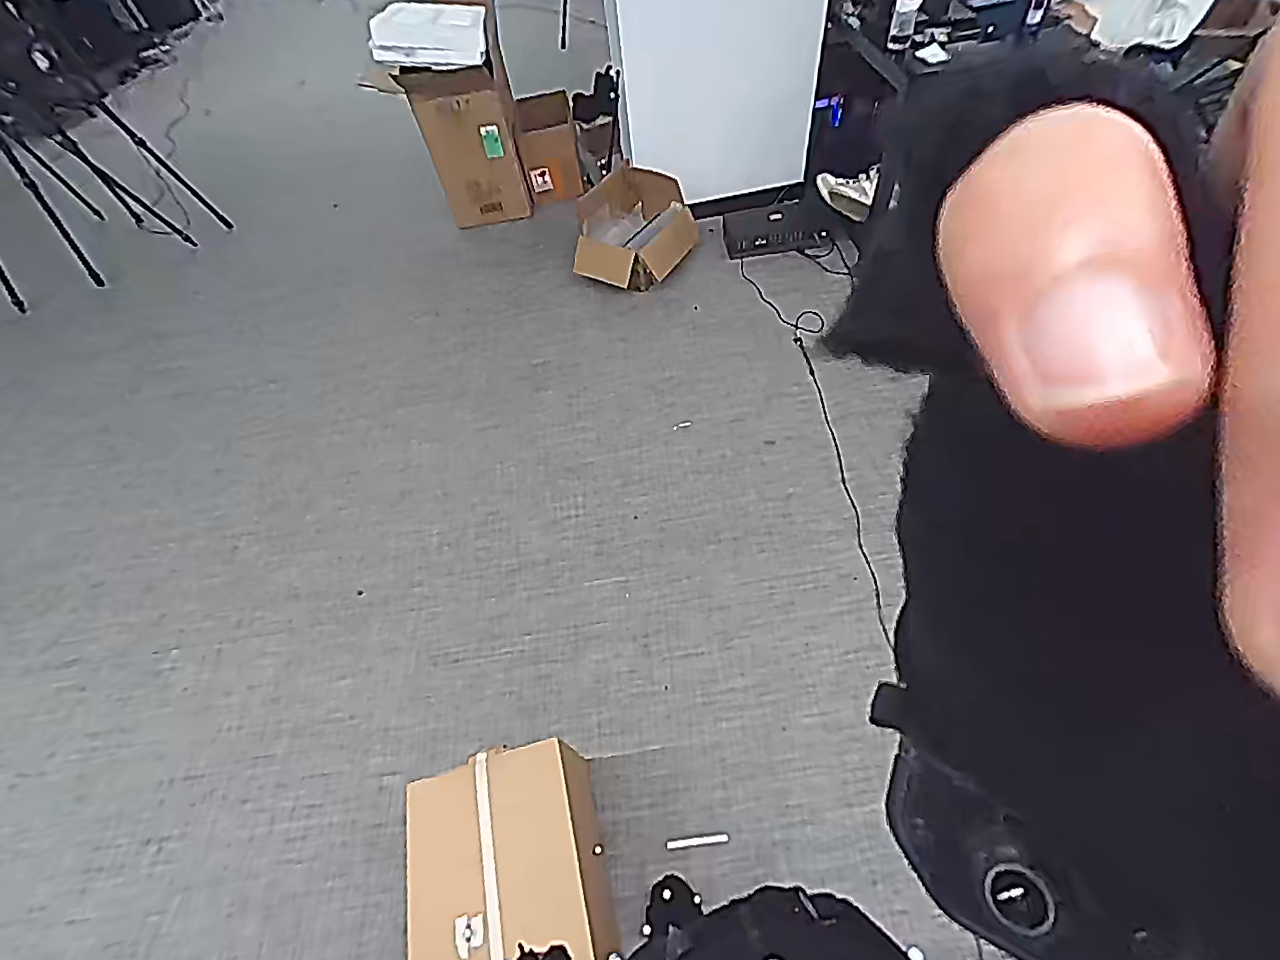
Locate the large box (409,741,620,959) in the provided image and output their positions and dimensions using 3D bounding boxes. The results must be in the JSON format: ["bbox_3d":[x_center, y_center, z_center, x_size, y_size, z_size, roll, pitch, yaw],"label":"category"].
[{"bbox_3d":[-0.251,0.812,1.110,0.320,0.320,0.408,-17,55,-3],"label":"large box"}]
